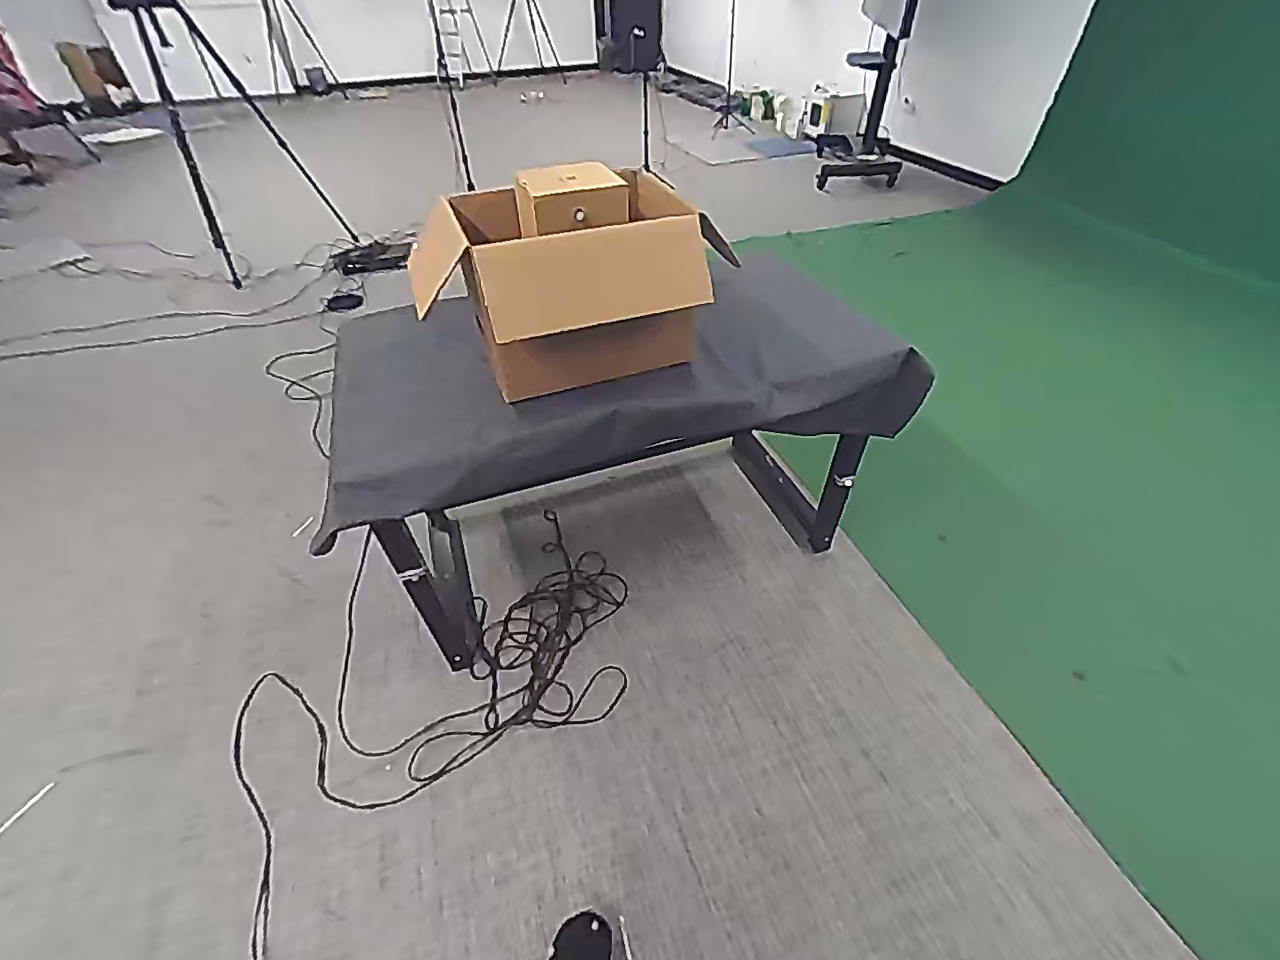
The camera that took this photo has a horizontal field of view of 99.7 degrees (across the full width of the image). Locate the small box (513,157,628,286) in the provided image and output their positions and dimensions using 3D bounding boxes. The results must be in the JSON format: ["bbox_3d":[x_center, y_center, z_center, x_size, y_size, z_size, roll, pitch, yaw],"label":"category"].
[{"bbox_3d":[-0.130,-0.493,1.032,0.179,0.176,0.168,-16,46,-15],"label":"small box"}]
